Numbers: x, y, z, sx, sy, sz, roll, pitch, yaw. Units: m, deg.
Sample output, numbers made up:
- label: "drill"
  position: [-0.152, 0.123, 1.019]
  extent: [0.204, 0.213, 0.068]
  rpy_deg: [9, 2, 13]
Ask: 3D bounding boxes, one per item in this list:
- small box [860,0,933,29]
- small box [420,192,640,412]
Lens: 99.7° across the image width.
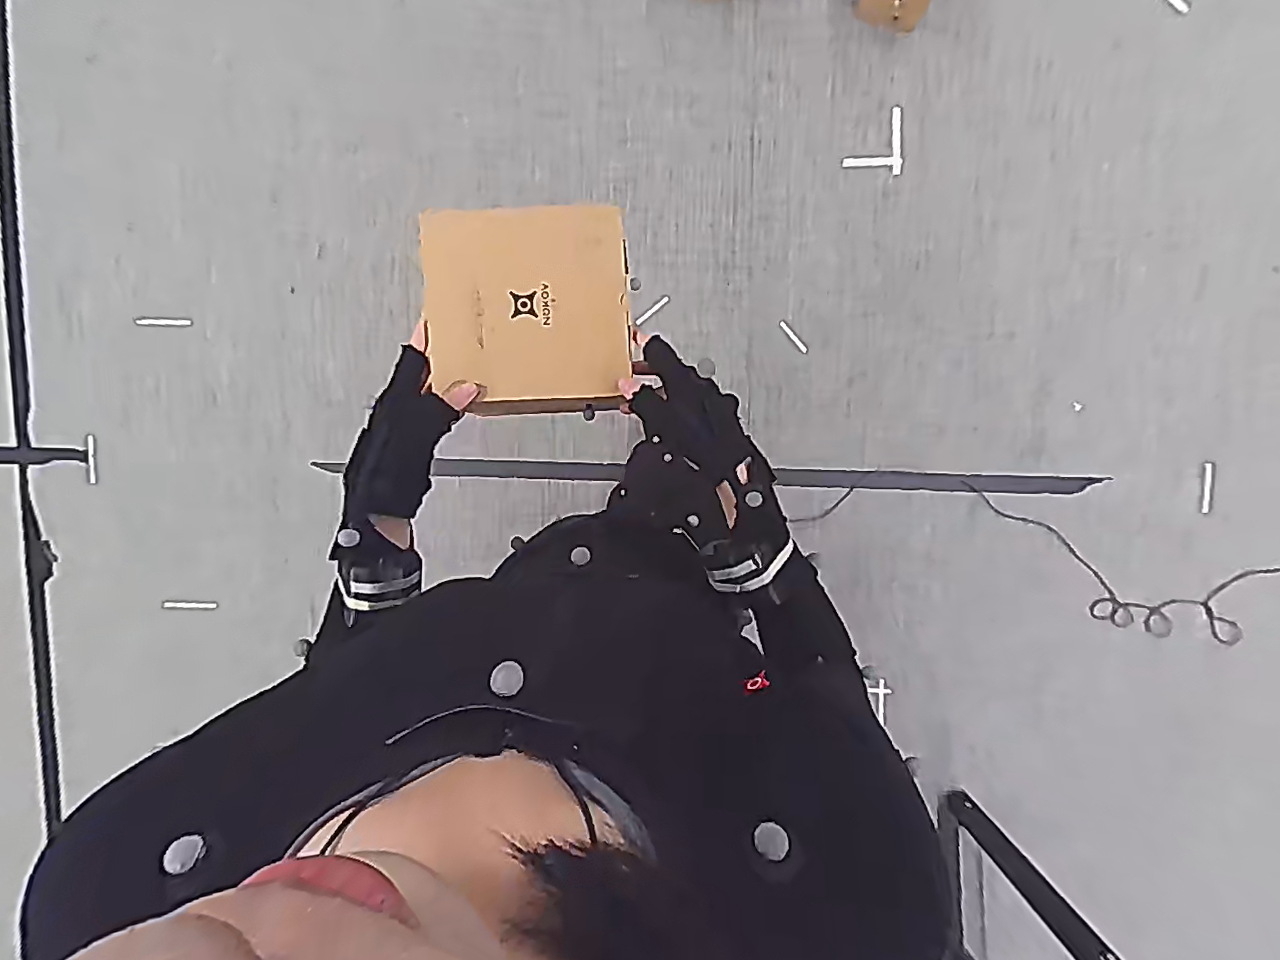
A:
- label: "small box"
  position: [0.672, -1.287, 1.349]
  extent: [0.168, 0.176, 0.179]
  rpy_deg: [15, 94, -1]
- label: "small box"
  position: [-0.096, -0.159, 0.533]
  extent: [0.179, 0.176, 0.168]
  rpy_deg: [-4, 91, -2]
